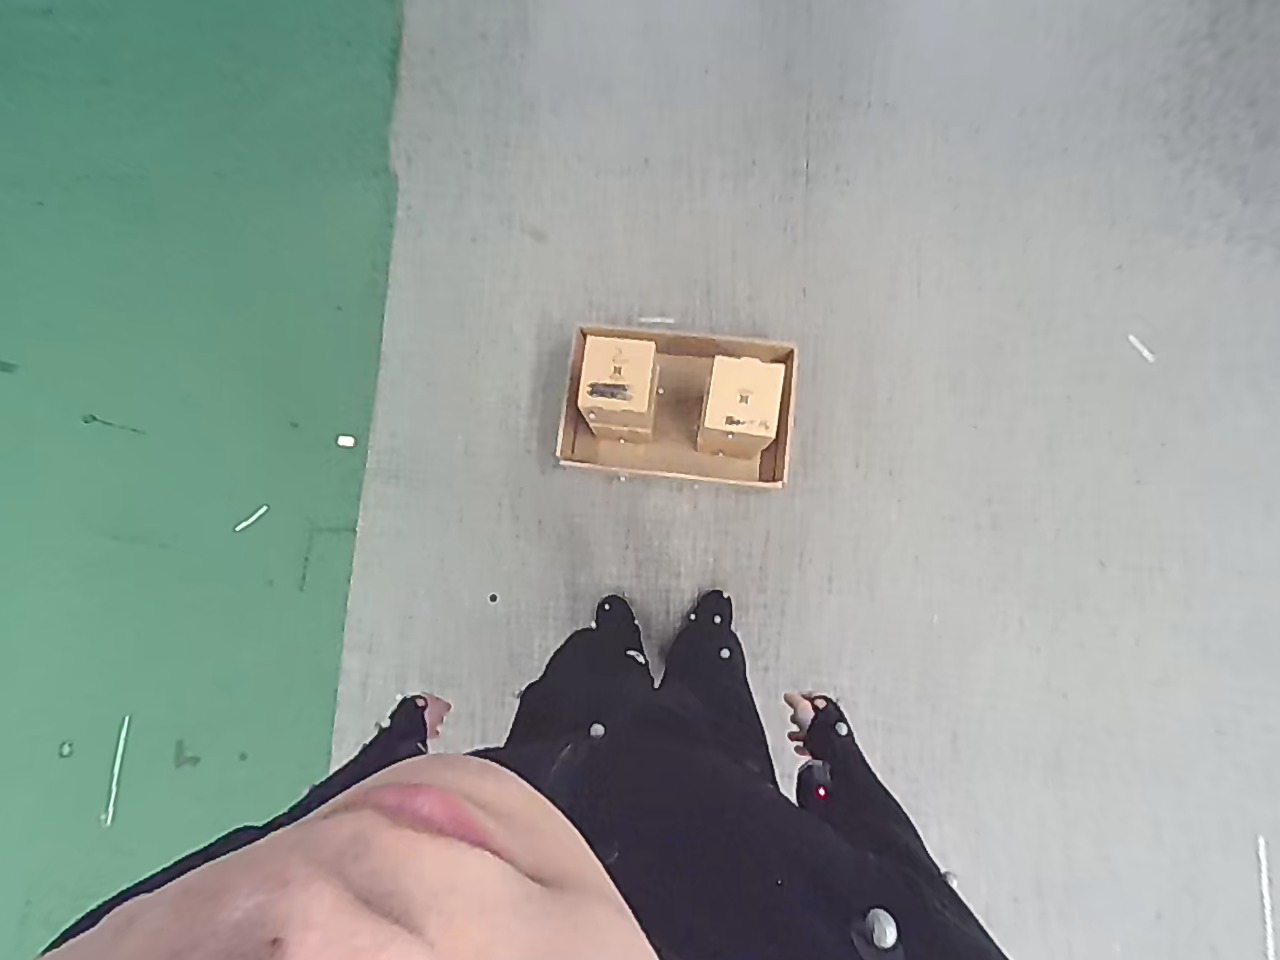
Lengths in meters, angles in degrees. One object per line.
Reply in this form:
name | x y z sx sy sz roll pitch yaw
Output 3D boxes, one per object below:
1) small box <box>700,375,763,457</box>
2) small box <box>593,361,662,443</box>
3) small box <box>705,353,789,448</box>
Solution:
small box | 0.257 -0.170 1.481 0.168 0.176 0.179 8 84 5
small box | -0.029 -0.212 1.506 0.168 0.176 0.179 7 82 5
small box | 0.254 -0.188 1.318 0.168 0.176 0.179 9 83 5
